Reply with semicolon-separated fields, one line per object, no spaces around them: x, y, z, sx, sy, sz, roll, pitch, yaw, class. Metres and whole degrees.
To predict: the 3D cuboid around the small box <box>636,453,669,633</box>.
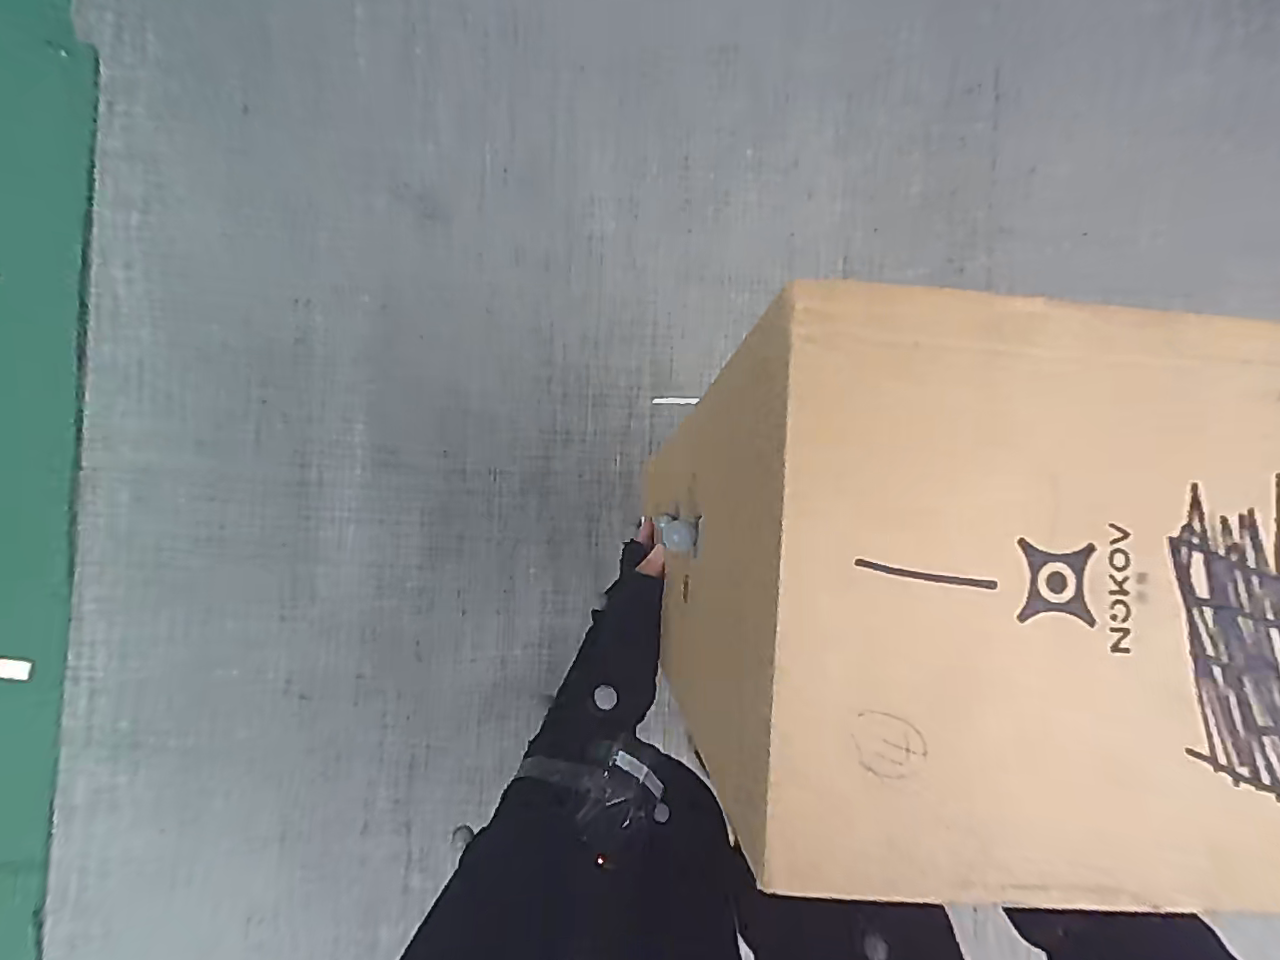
0.089;0.066;0.573;0.179;0.176;0.168;2;84;-3;small box

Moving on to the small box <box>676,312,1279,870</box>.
0.118;0.039;0.247;0.179;0.176;0.168;2;85;-5;small box

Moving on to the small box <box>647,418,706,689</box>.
0.104;0.054;0.411;0.179;0.176;0.168;4;85;-4;small box
